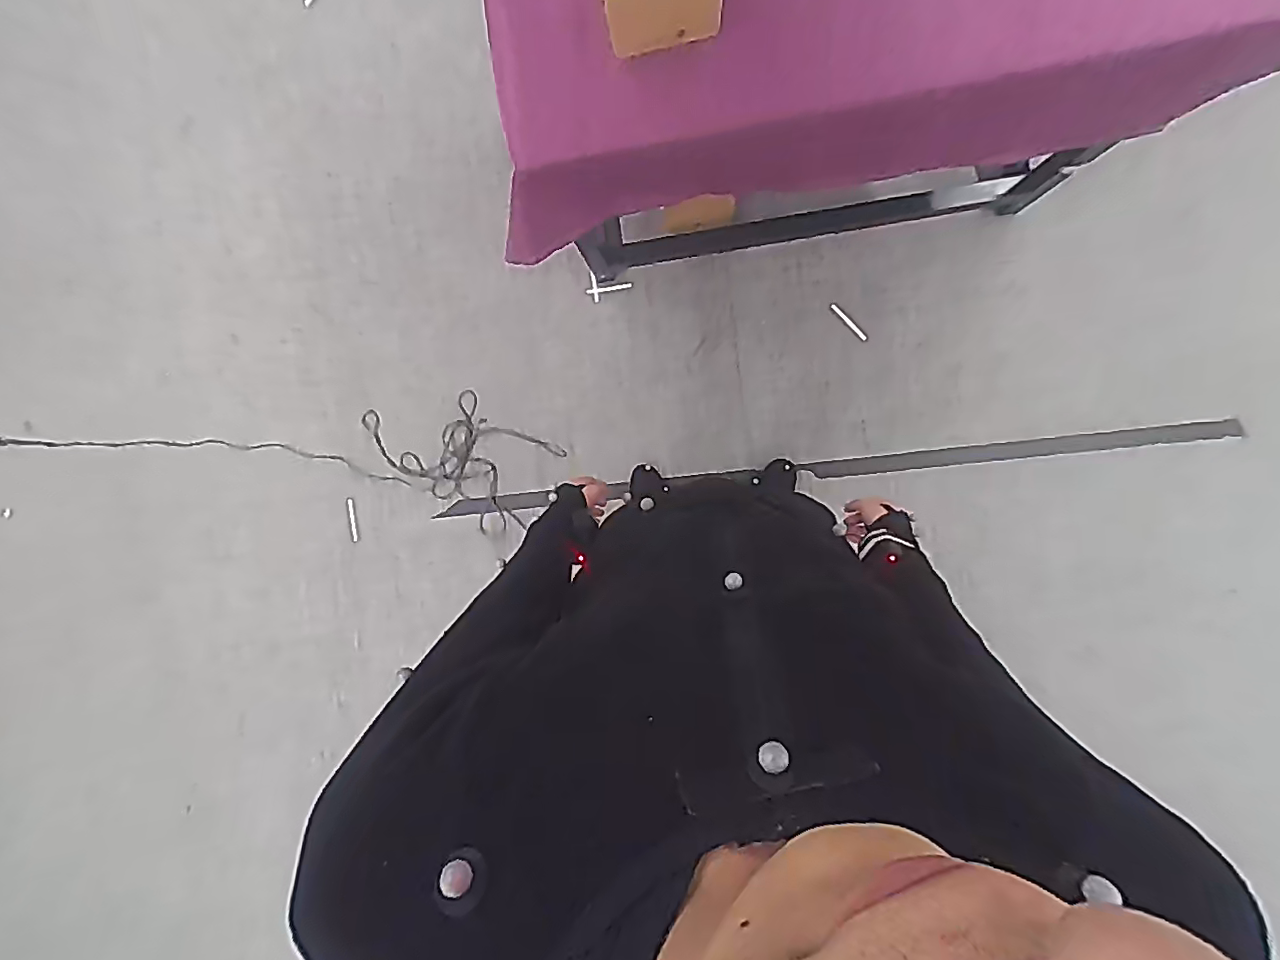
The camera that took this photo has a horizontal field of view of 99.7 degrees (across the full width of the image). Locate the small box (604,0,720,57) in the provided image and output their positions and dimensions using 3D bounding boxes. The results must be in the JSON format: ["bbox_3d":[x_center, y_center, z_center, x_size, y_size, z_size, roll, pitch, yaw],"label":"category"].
[{"bbox_3d":[0.021,-0.756,0.761,0.168,0.176,0.179,-9,93,6],"label":"small box"}]
